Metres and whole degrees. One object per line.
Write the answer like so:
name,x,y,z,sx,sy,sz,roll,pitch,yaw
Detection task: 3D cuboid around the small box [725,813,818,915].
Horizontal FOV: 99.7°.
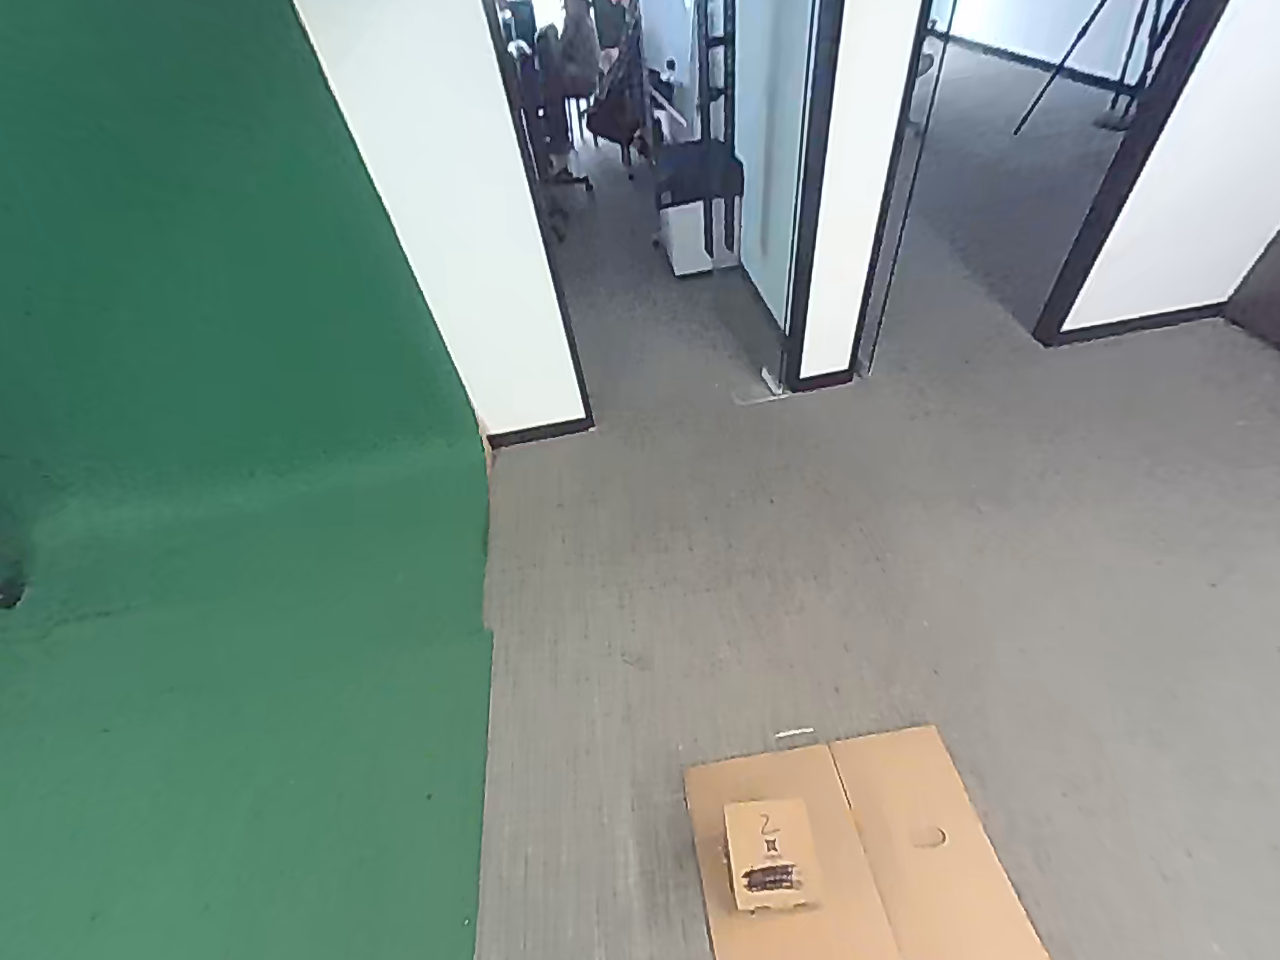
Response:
small box,0.294,0.883,1.240,0.179,0.176,0.168,-6,47,3
